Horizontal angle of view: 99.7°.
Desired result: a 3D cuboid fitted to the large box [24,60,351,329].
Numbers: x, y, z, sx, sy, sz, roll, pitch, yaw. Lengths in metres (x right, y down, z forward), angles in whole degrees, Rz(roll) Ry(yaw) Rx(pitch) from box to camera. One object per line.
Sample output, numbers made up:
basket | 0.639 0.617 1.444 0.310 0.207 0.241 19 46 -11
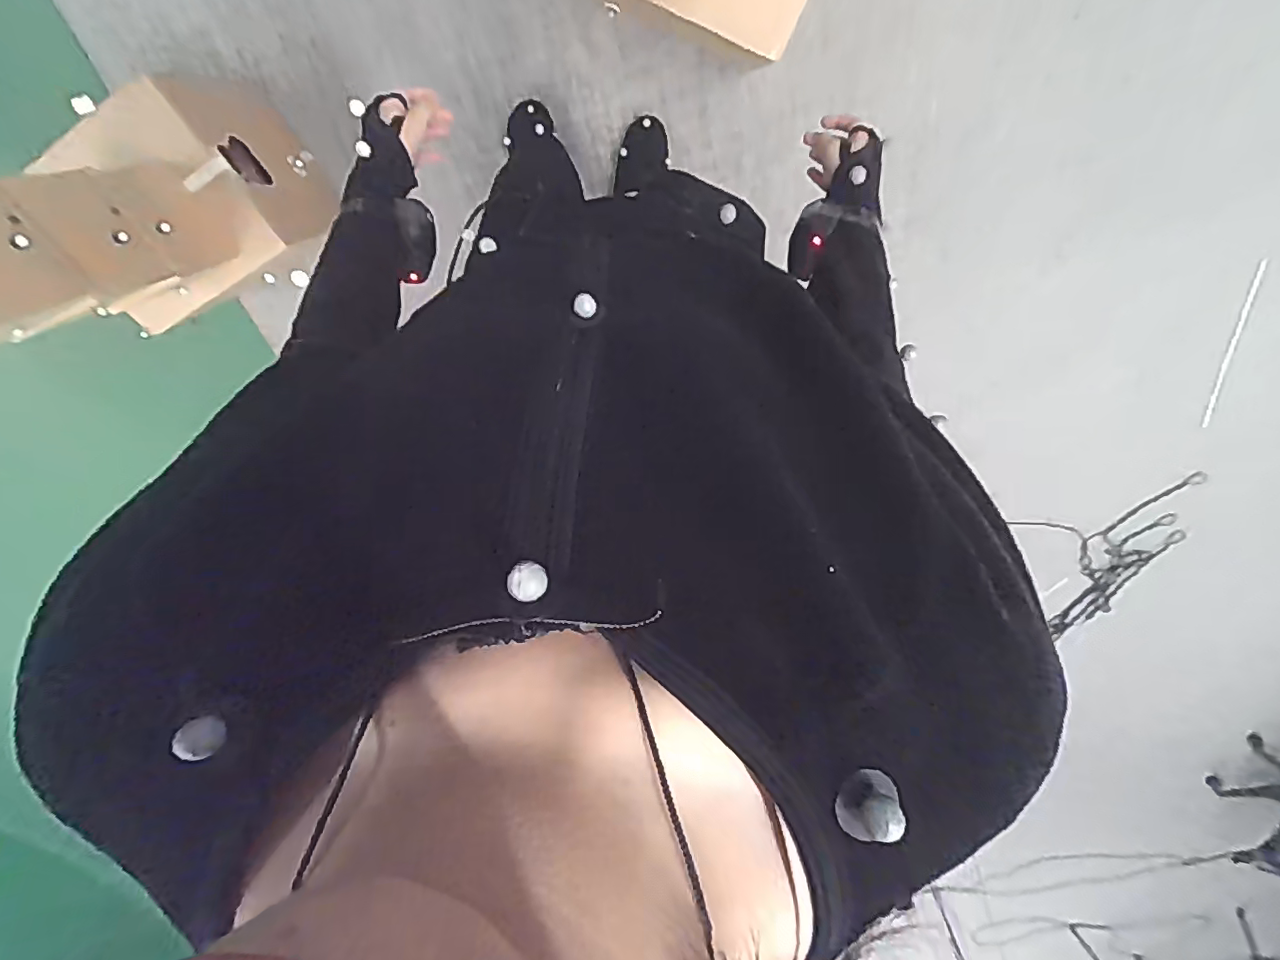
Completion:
large box | -0.913 -0.586 1.124 0.408 0.320 0.320 -22 121 16

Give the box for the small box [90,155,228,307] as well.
small box | -0.876 -0.432 0.932 0.168 0.176 0.179 -18 123 12

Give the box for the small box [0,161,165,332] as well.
small box | -0.875 -0.345 0.795 0.179 0.176 0.168 -17 123 11
